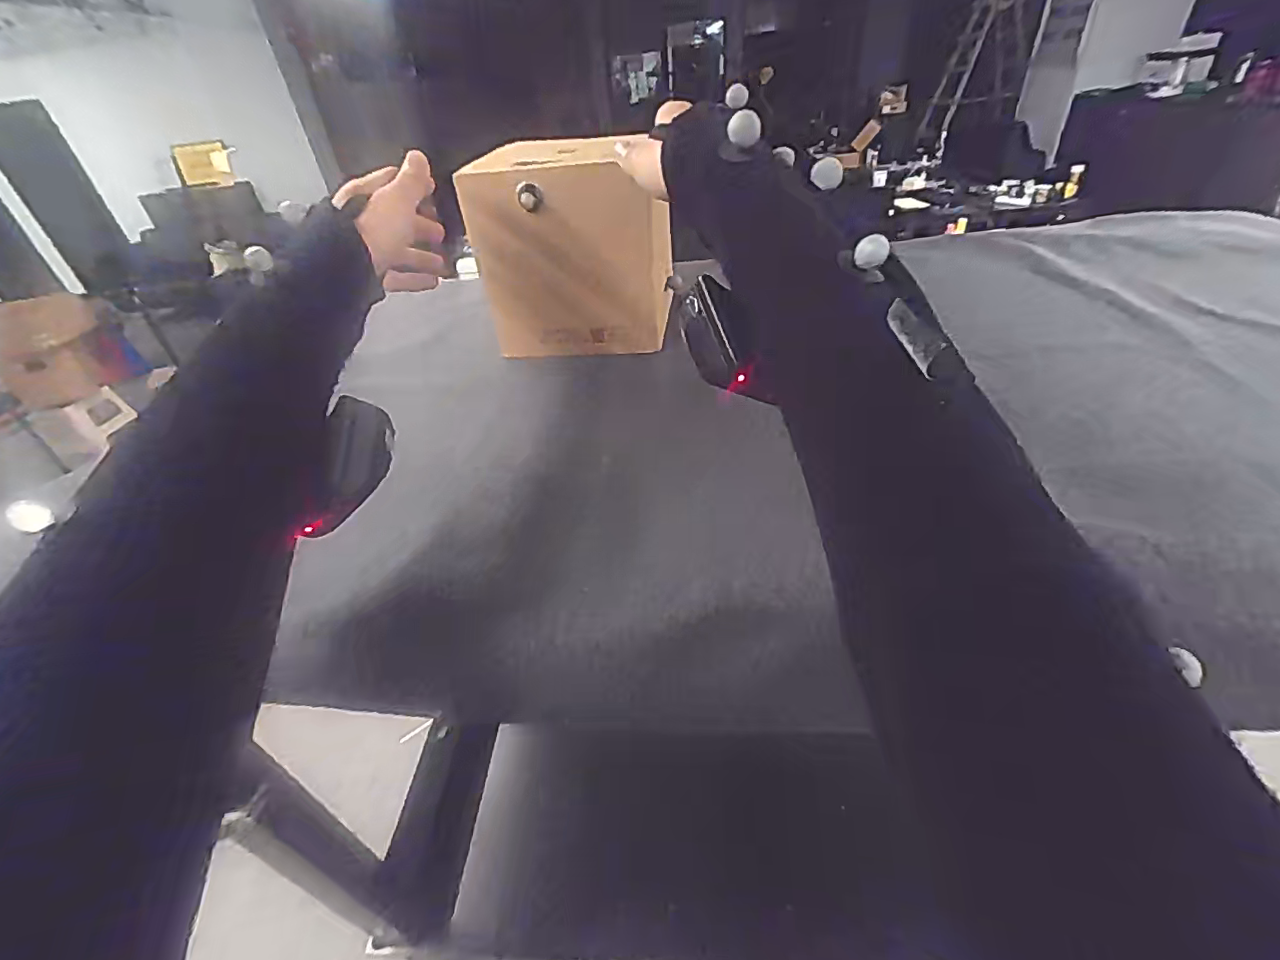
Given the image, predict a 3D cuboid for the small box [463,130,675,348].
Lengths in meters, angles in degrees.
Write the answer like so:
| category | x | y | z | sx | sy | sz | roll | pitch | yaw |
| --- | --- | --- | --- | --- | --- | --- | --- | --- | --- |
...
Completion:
| category | x | y | z | sx | sy | sz | roll | pitch | yaw |
| --- | --- | --- | --- | --- | --- | --- | --- | --- | --- |
| small box | -0.054 | -0.247 | 0.554 | 0.168 | 0.176 | 0.179 | 0 | 37 | 9 |
